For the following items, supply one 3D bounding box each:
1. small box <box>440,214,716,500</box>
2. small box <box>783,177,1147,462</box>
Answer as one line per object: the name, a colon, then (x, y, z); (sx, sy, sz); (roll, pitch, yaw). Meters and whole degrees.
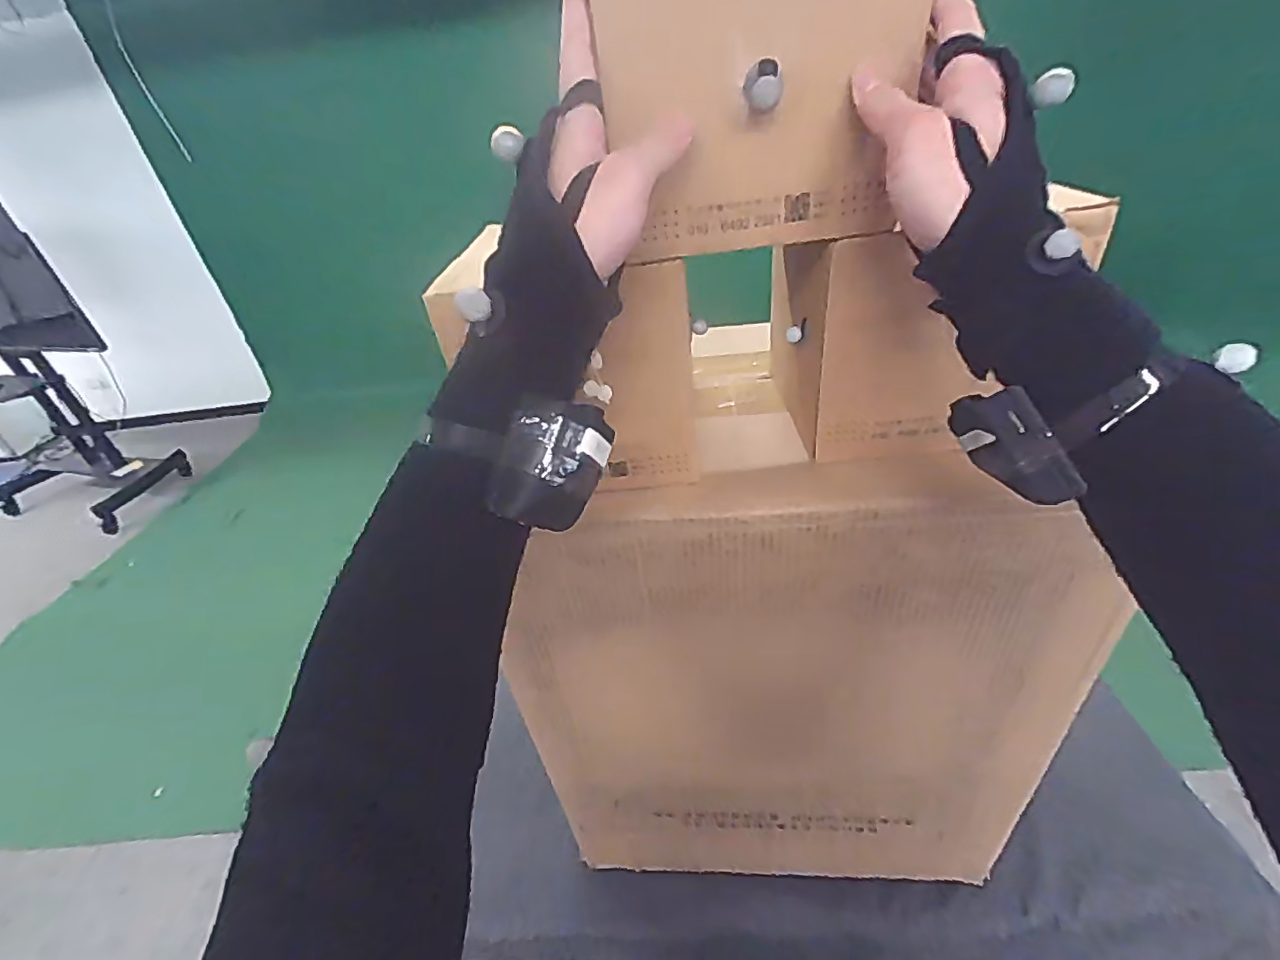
small box: (-0.027, -0.102, 0.432); (0.168, 0.176, 0.179); (-3, 37, 8)
small box: (0.217, -0.124, 0.426); (0.168, 0.176, 0.179); (-5, 36, 1)
